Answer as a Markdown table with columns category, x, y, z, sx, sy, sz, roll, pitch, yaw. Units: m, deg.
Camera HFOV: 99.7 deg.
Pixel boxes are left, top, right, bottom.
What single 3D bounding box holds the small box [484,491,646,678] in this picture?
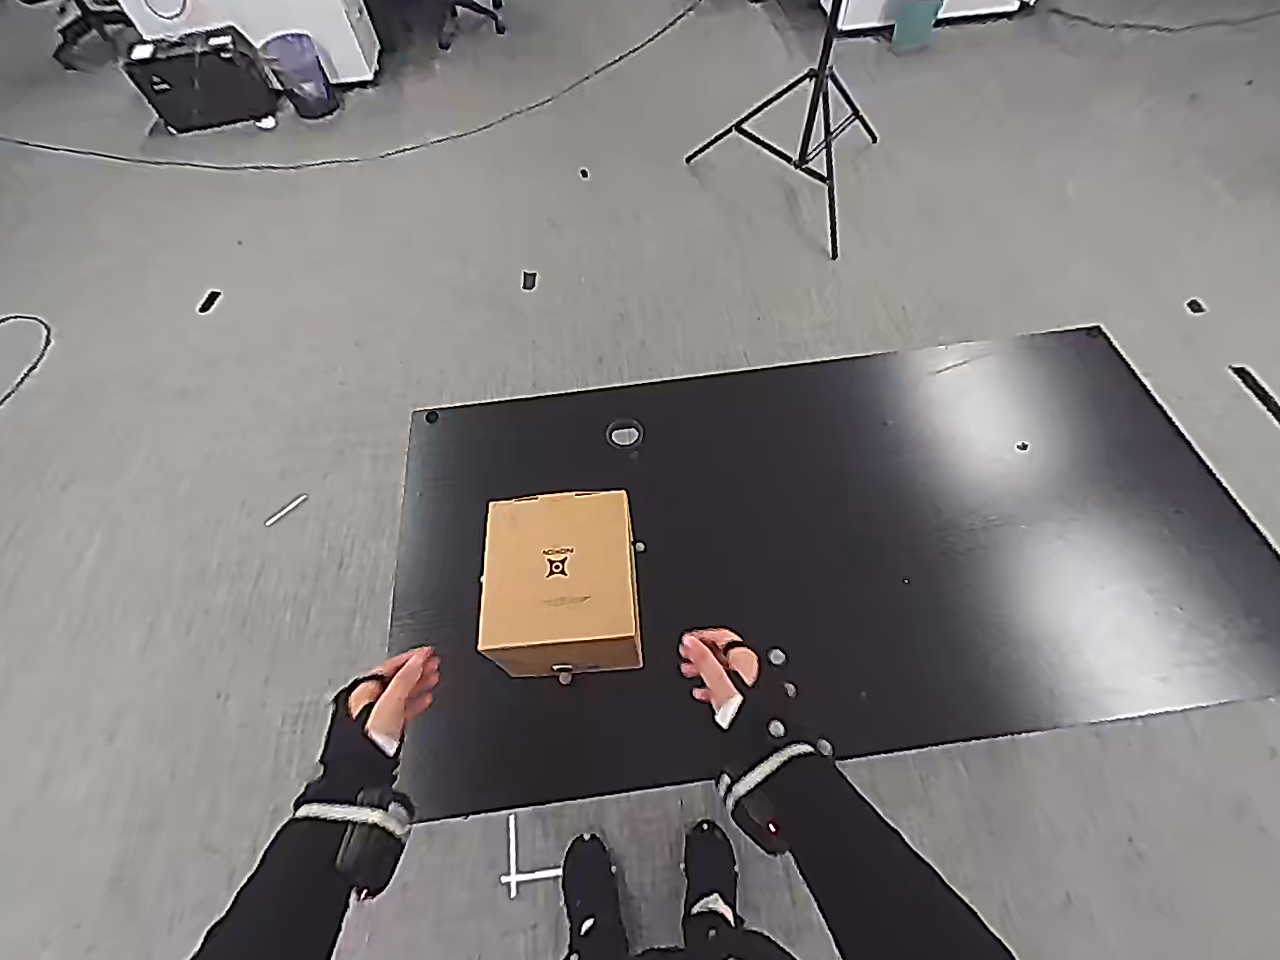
| category | x | y | z | sx | sy | sz | roll | pitch | yaw |
| --- | --- | --- | --- | --- | --- | --- | --- | --- | --- |
| small box | -0.082 | 0.134 | 0.667 | 0.168 | 0.176 | 0.179 | -6 | 61 | 1 |
